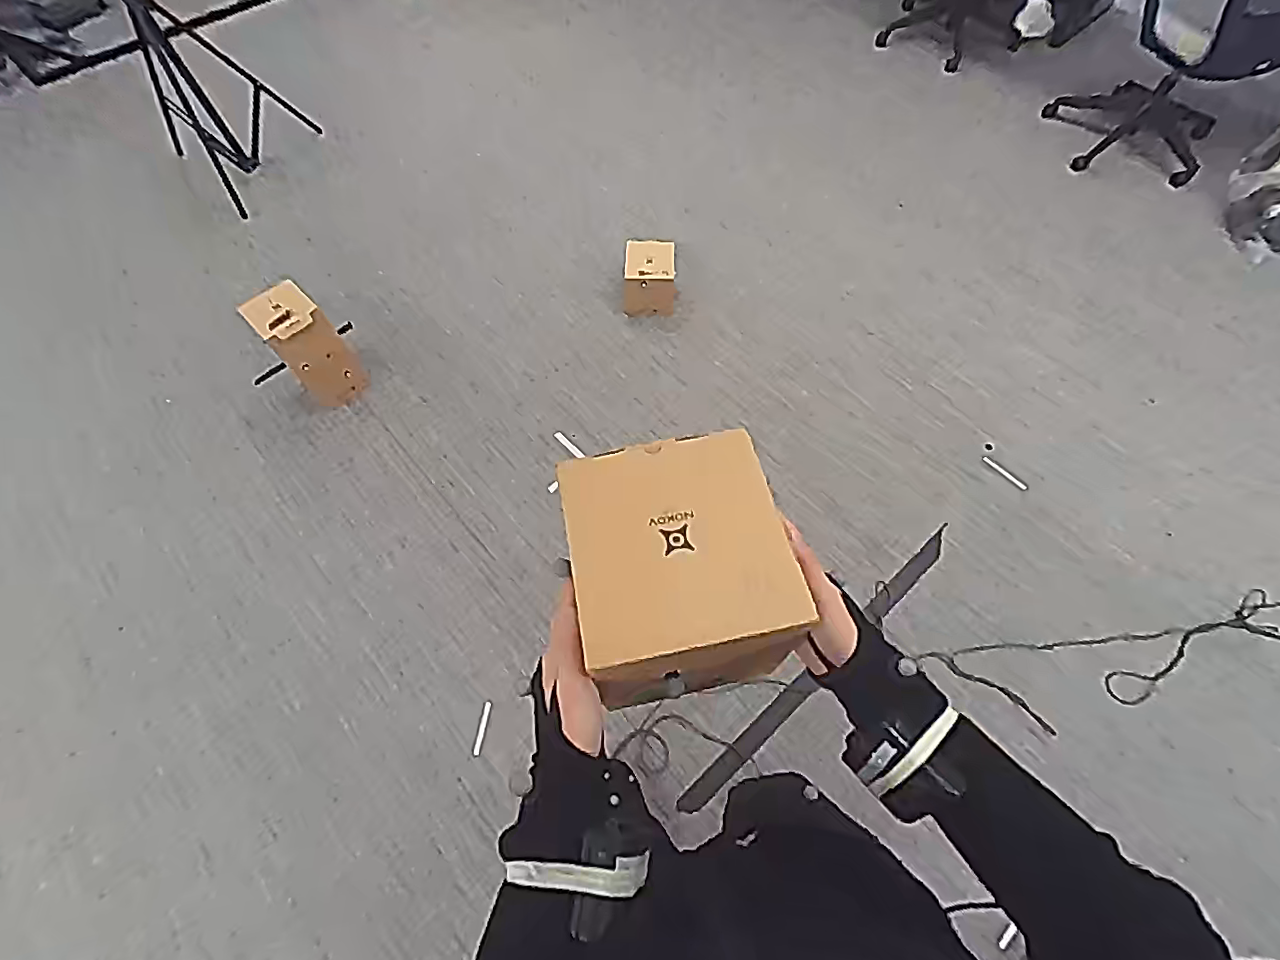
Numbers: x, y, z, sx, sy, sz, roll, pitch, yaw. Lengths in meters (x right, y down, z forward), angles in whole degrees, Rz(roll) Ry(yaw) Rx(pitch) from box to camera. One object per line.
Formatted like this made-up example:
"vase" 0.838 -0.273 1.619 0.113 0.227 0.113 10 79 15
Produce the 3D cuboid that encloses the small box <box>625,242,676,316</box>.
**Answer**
"small box" 0.036 -0.694 1.873 0.168 0.176 0.179 2 63 1

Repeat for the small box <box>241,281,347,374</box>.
"small box" -1.005 -0.438 1.586 0.179 0.176 0.168 41 71 20

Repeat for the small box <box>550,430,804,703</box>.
"small box" 0.024 0.086 0.479 0.168 0.176 0.179 -11 57 -5

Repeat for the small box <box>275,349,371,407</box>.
"small box" -1.006 -0.361 1.732 0.179 0.176 0.168 40 70 20
